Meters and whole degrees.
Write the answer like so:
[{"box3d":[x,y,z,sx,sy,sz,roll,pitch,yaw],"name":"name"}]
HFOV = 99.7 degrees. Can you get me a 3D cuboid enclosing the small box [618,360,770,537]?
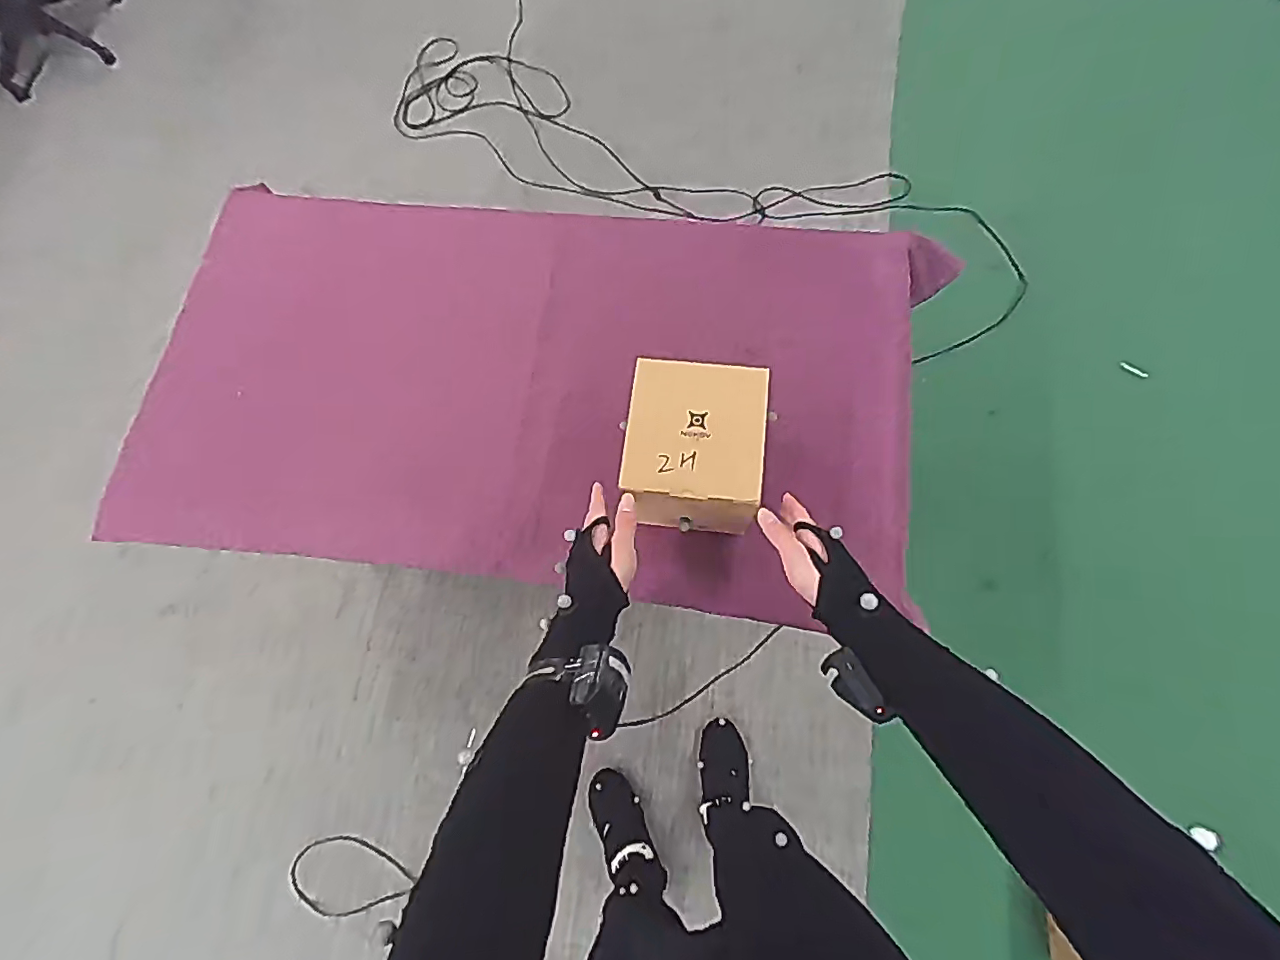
[{"box3d":[0.071,-0.035,0.720,0.168,0.176,0.179,7,73,7],"name":"small box"}]
